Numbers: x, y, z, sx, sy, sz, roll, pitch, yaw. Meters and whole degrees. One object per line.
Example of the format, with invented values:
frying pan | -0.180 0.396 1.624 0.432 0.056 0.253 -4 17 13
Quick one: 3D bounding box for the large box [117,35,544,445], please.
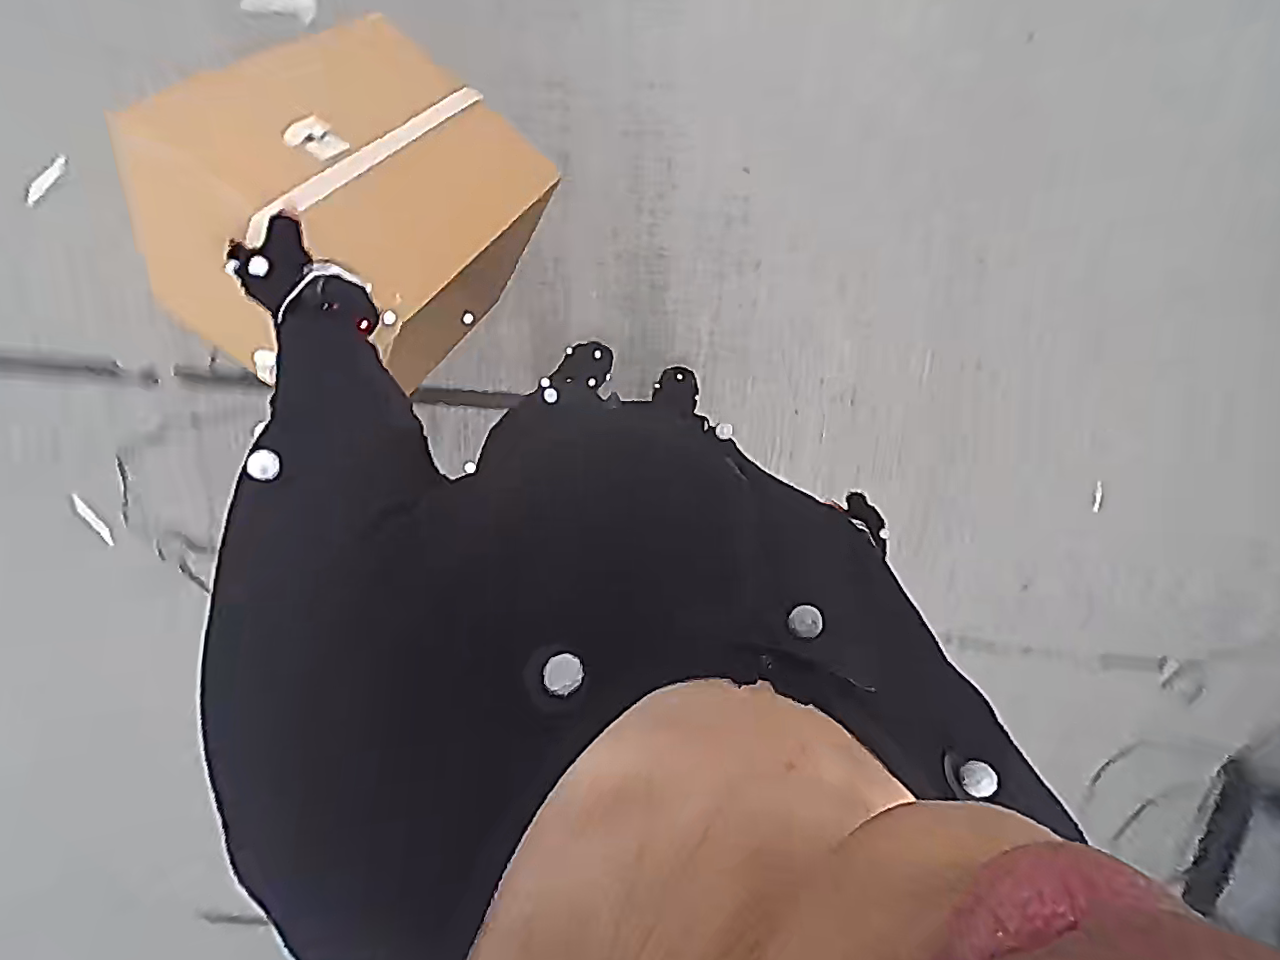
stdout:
large box | -0.404 -0.333 0.794 0.320 0.408 0.320 35 144 -14
